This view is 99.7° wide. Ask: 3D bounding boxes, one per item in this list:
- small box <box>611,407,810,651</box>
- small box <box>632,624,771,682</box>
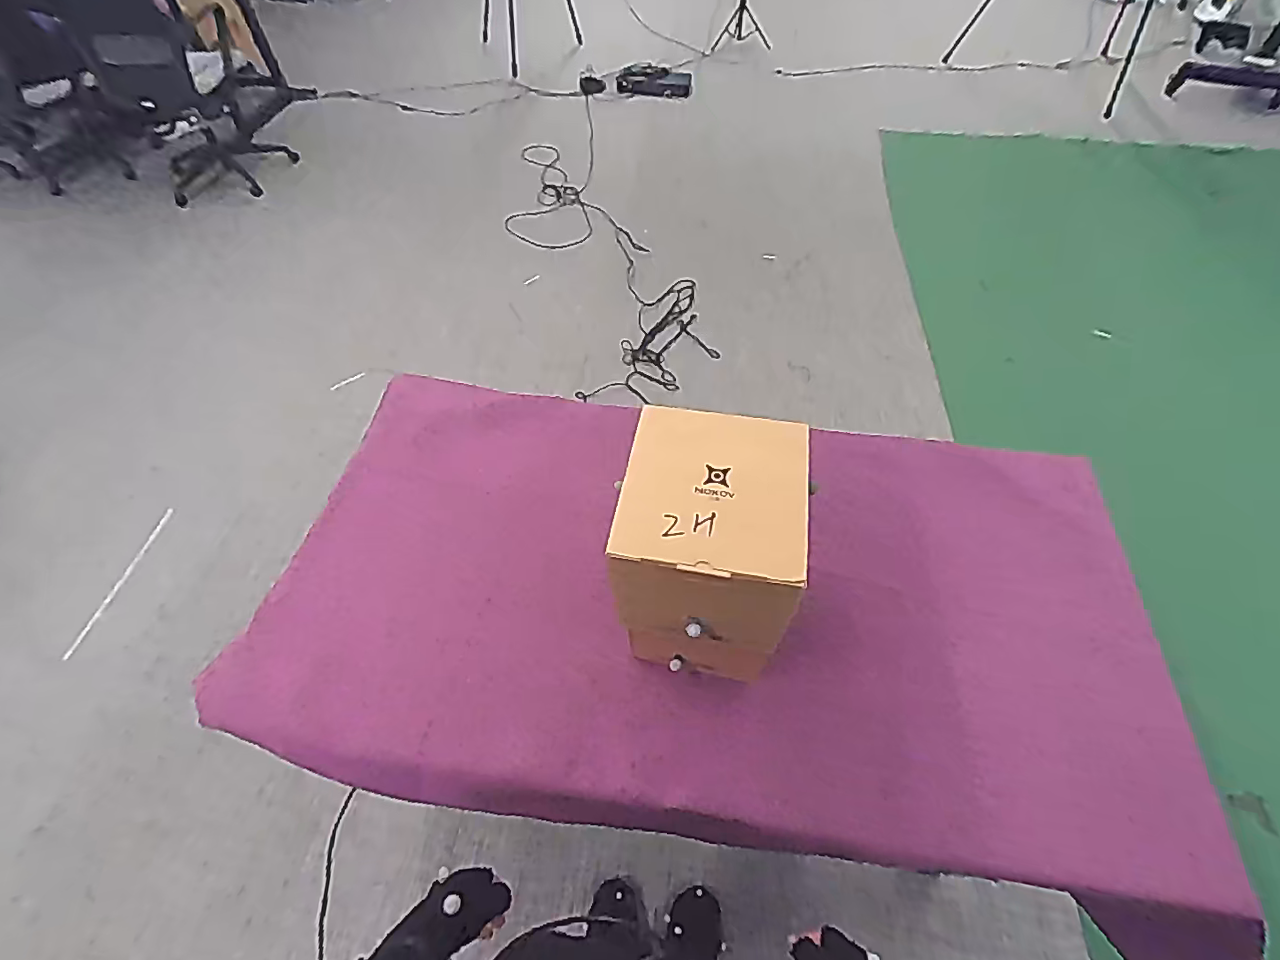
[{"bbox_3d":[0.073,0.053,0.557,0.168,0.176,0.179,8,55,8],"label":"small box"},{"bbox_3d":[0.084,0.137,0.699,0.168,0.176,0.179,9,55,9],"label":"small box"}]
